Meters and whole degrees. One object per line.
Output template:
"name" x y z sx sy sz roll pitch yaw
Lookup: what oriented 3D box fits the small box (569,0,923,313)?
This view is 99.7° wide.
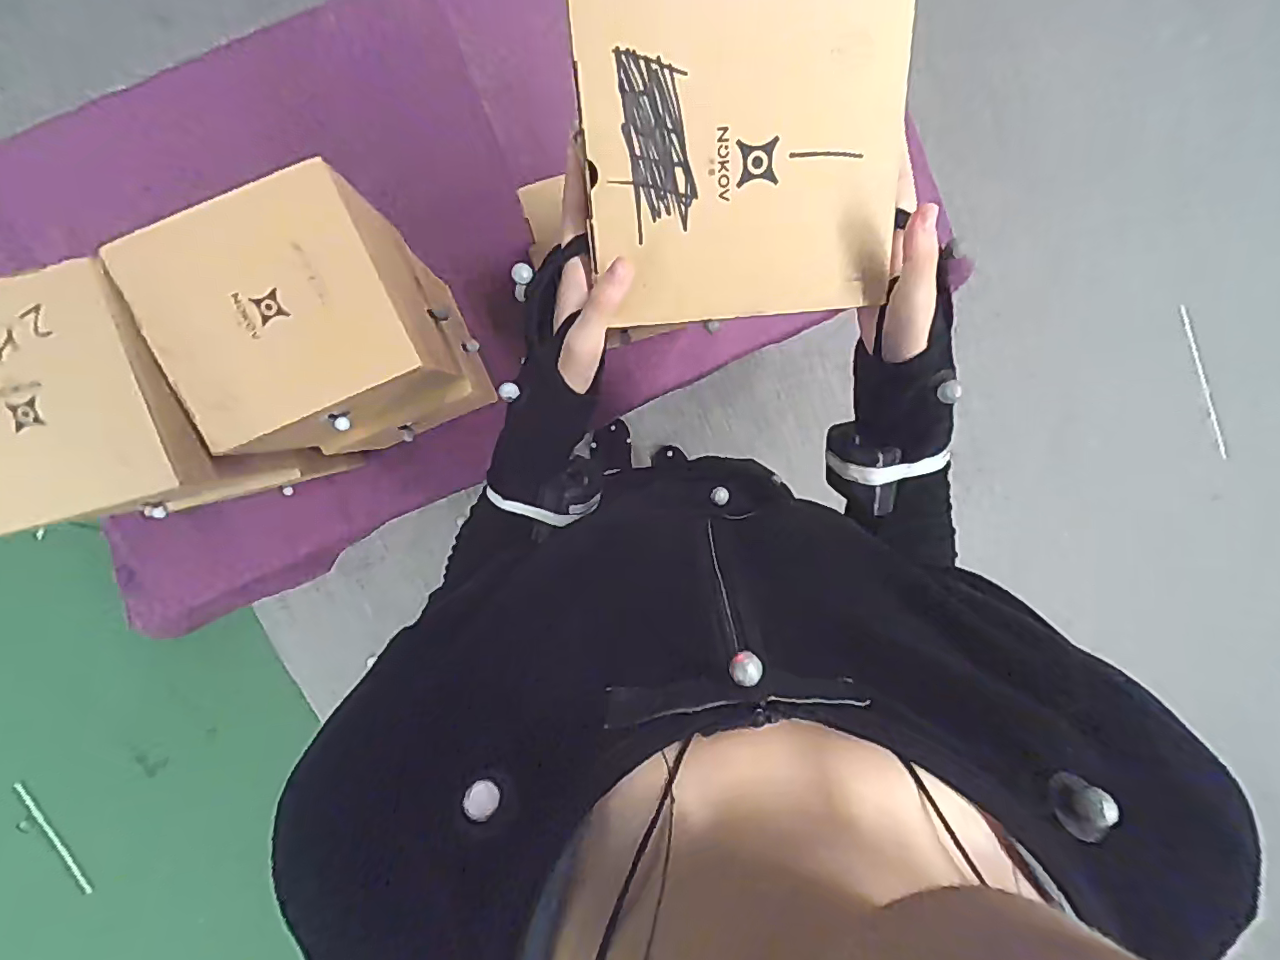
"small box" 0.054 -0.205 0.362 0.179 0.176 0.168 -4 112 -1

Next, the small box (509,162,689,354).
"small box" -0.036 -0.258 0.644 0.179 0.176 0.168 -17 98 -3
